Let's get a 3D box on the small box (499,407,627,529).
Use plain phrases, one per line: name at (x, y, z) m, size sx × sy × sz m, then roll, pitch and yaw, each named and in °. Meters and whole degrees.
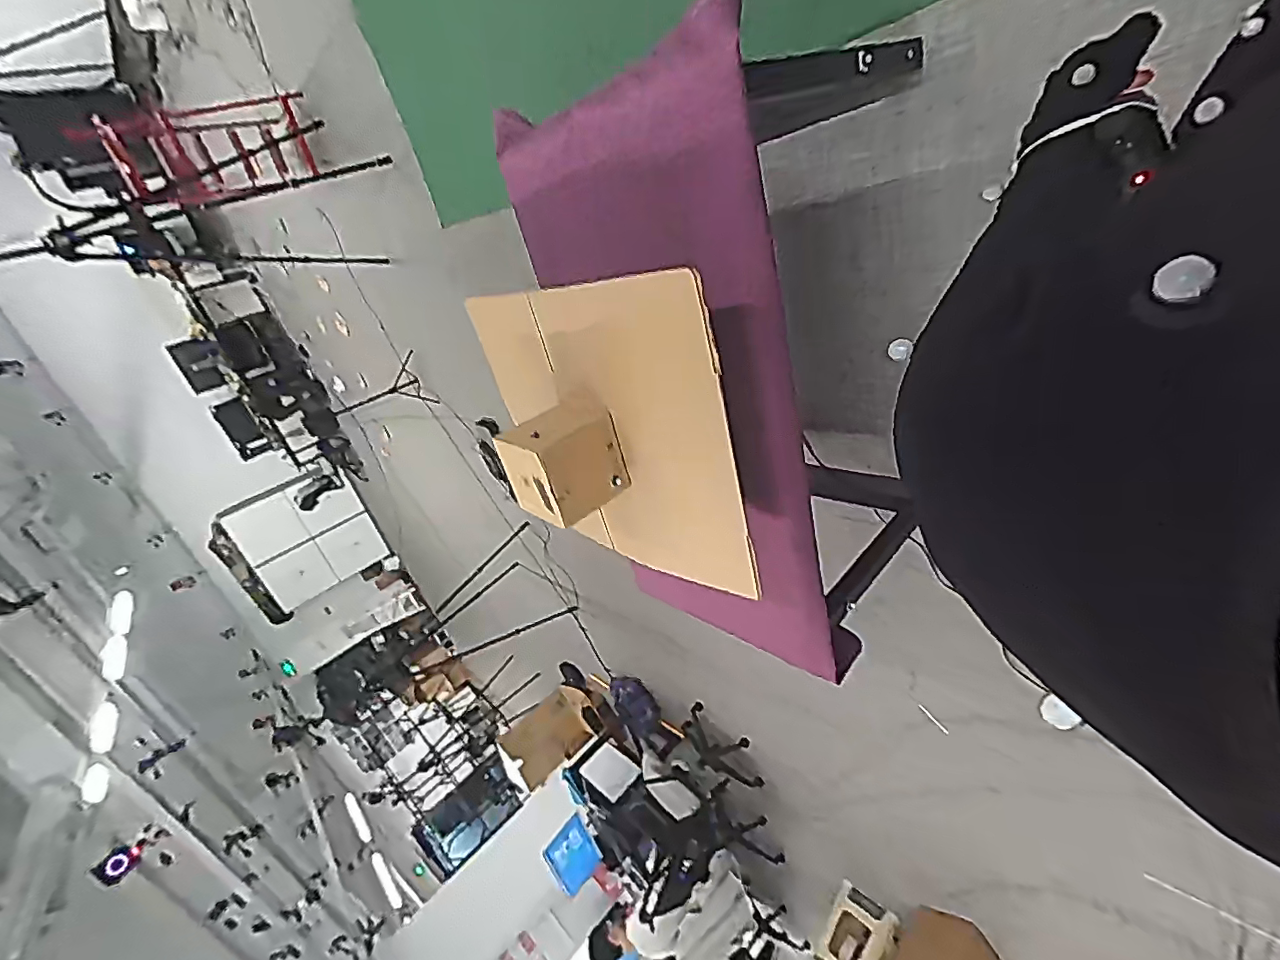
small box at (-0.142, -0.033, 1.068) m, size 0.179 × 0.176 × 0.168 m, roll 18°, pitch 132°, yaw 47°
